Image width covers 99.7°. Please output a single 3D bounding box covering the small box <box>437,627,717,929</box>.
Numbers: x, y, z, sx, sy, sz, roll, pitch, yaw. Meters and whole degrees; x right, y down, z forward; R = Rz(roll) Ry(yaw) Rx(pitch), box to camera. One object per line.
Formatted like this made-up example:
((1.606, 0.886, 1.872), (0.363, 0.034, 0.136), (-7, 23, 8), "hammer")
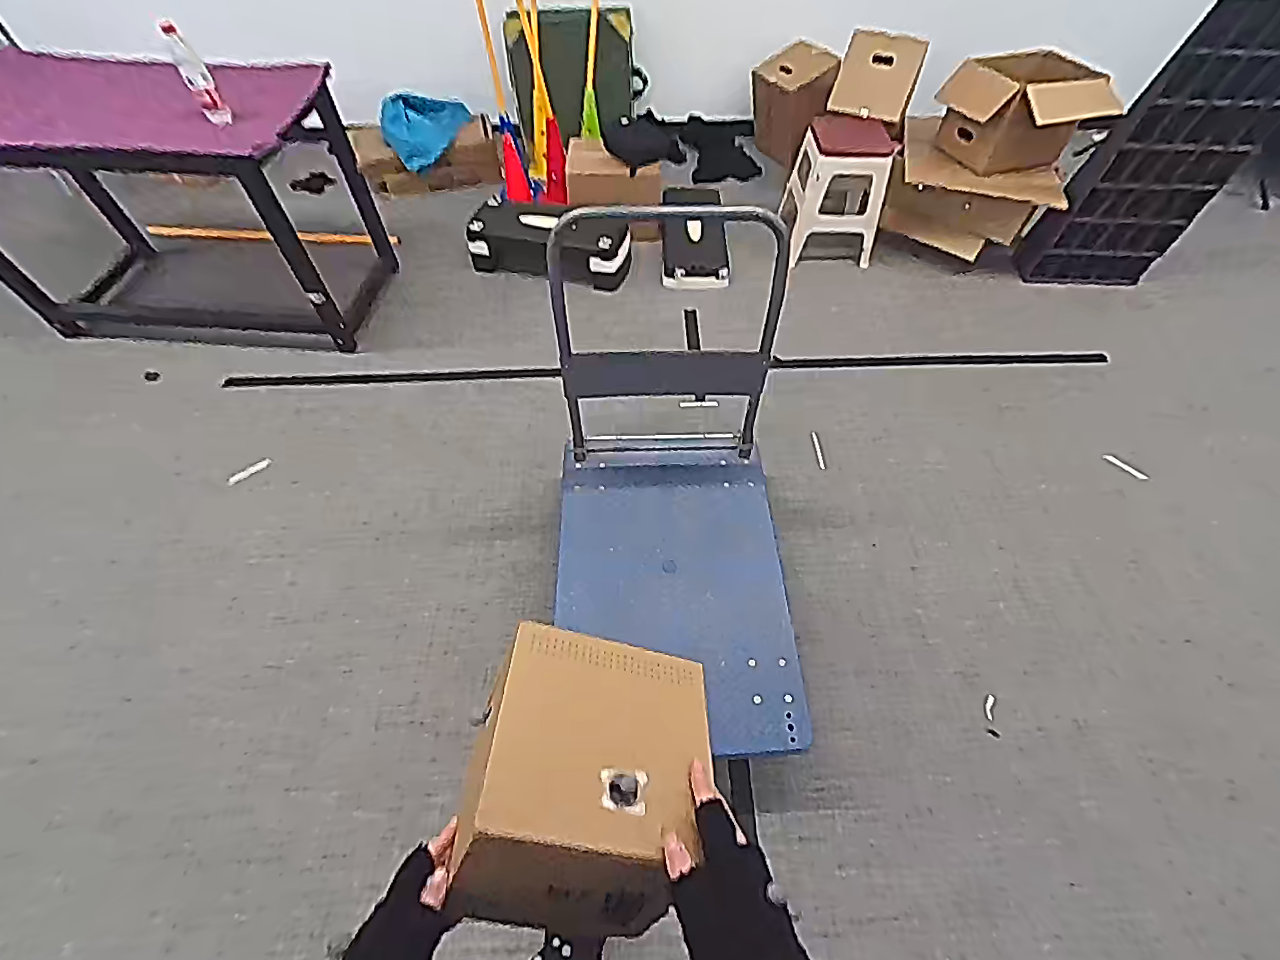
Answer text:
((-0.052, 0.254, 0.471), (0.179, 0.168, 0.176), (19, 34, -11), "small box")
